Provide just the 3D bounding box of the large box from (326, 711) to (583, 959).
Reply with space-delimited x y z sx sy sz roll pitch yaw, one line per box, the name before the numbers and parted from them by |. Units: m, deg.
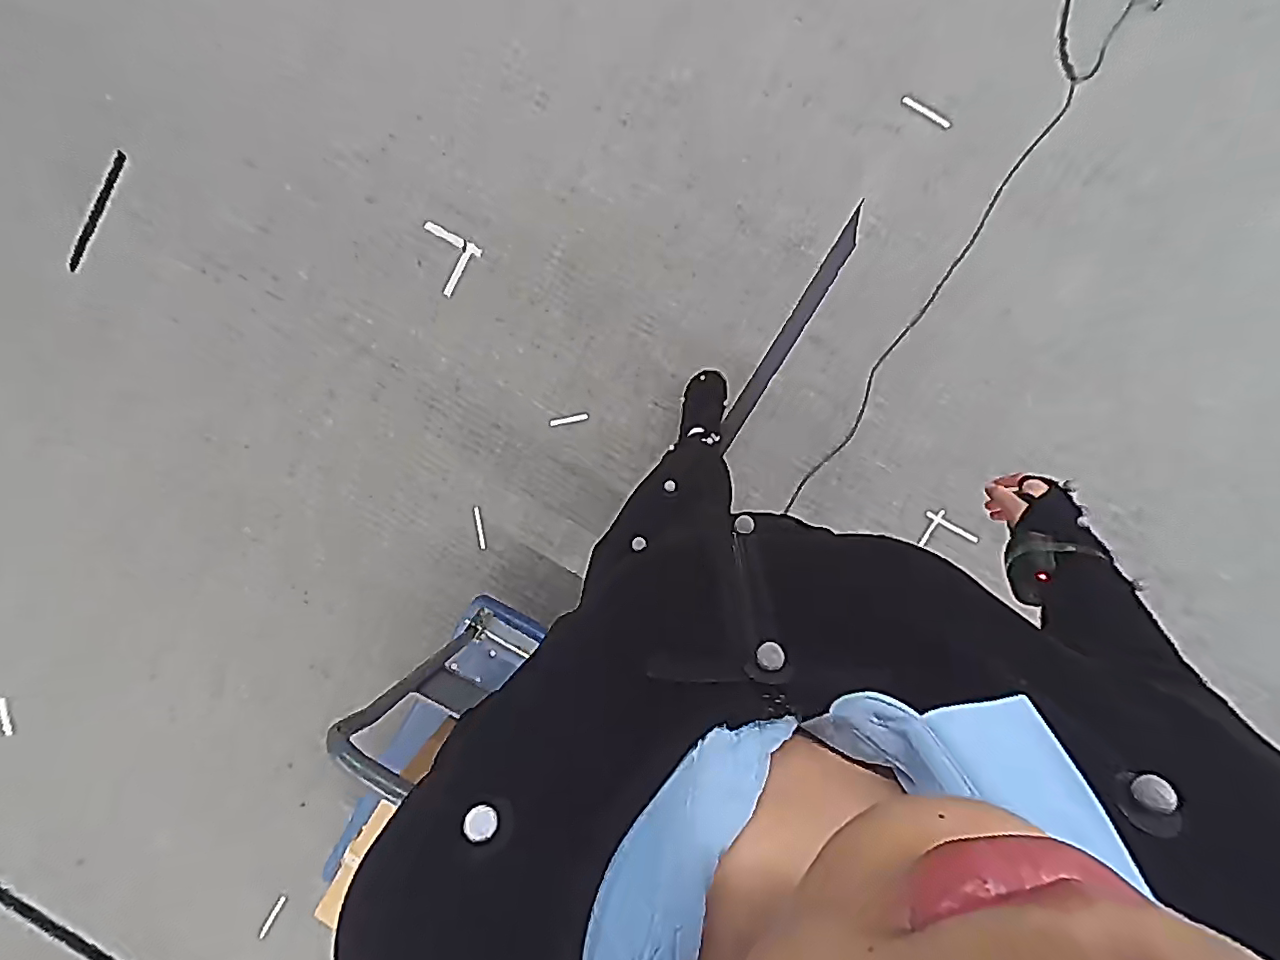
large box | -0.392 0.816 1.238 0.408 0.320 0.320 31 94 0
